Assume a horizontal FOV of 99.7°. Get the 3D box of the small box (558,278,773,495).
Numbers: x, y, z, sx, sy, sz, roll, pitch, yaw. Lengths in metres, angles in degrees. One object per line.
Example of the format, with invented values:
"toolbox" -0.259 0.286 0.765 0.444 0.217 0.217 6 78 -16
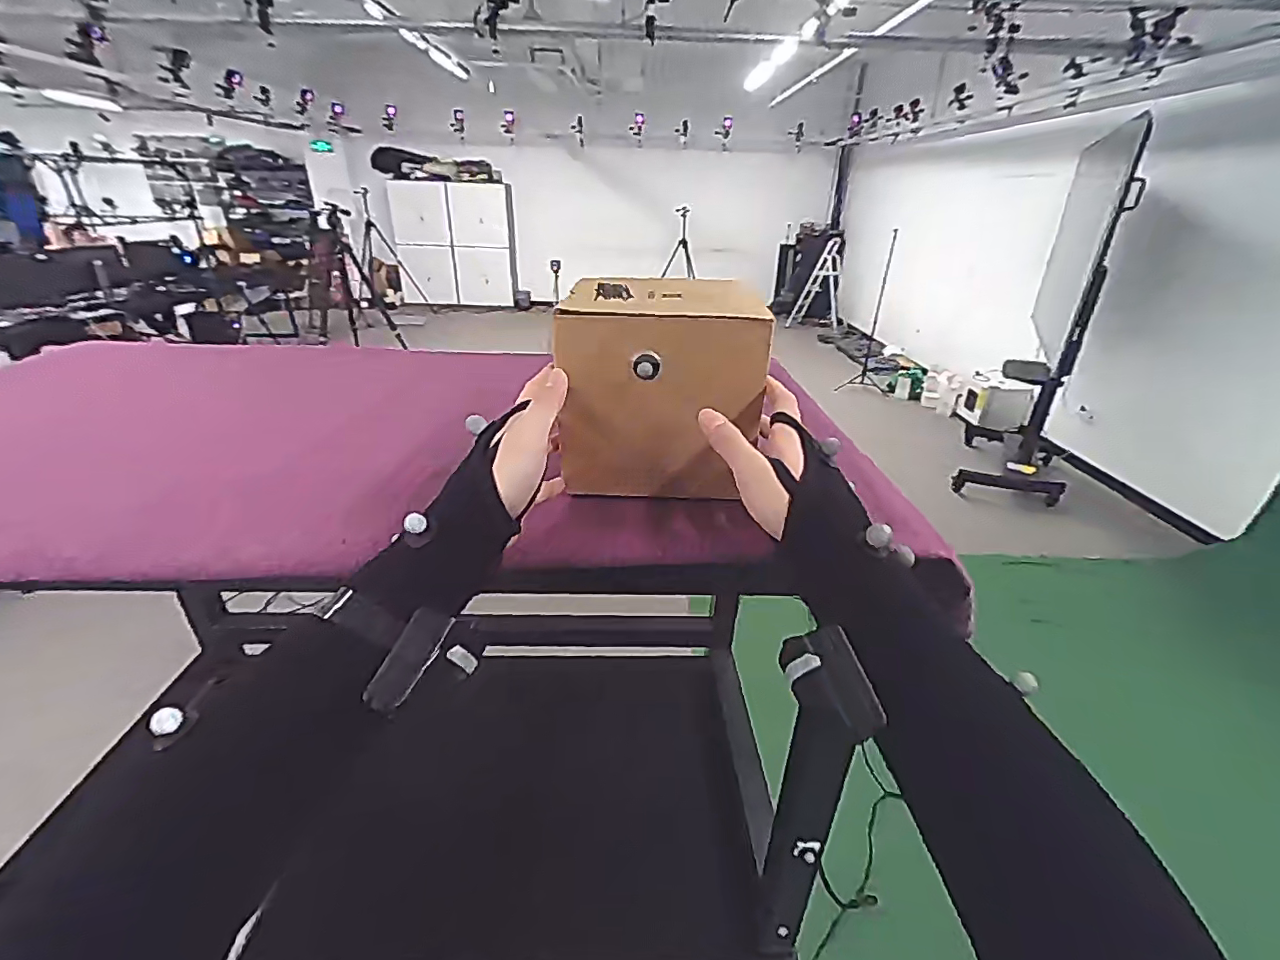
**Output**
"small box" 0.022 -0.097 0.537 0.179 0.176 0.168 2 31 1
